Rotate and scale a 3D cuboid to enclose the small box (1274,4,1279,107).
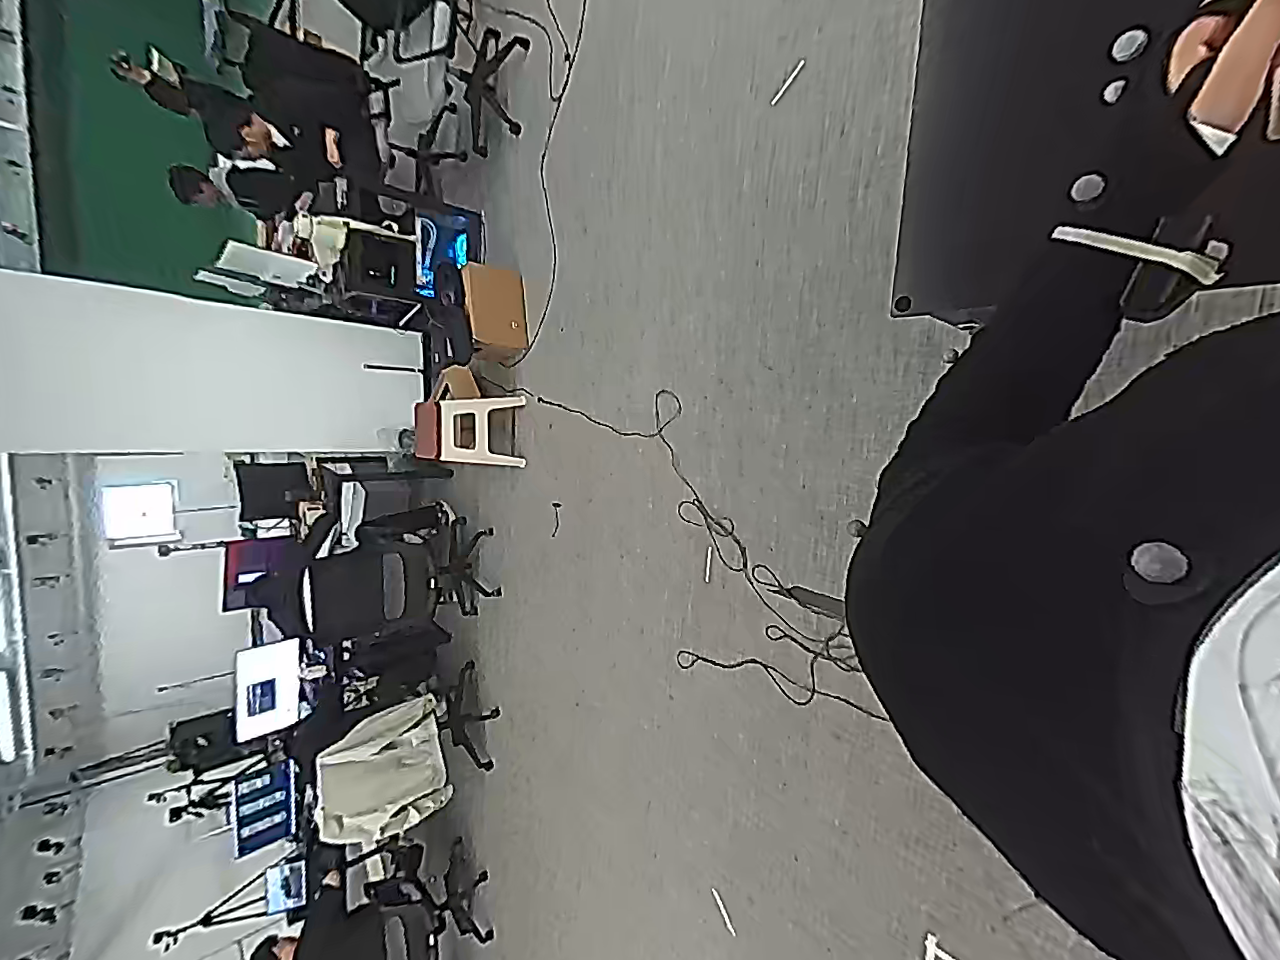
[{"bbox_3d":[0.605,-0.413,0.402,0.168,0.176,0.179,4,95,48],"label":"small box"}]
